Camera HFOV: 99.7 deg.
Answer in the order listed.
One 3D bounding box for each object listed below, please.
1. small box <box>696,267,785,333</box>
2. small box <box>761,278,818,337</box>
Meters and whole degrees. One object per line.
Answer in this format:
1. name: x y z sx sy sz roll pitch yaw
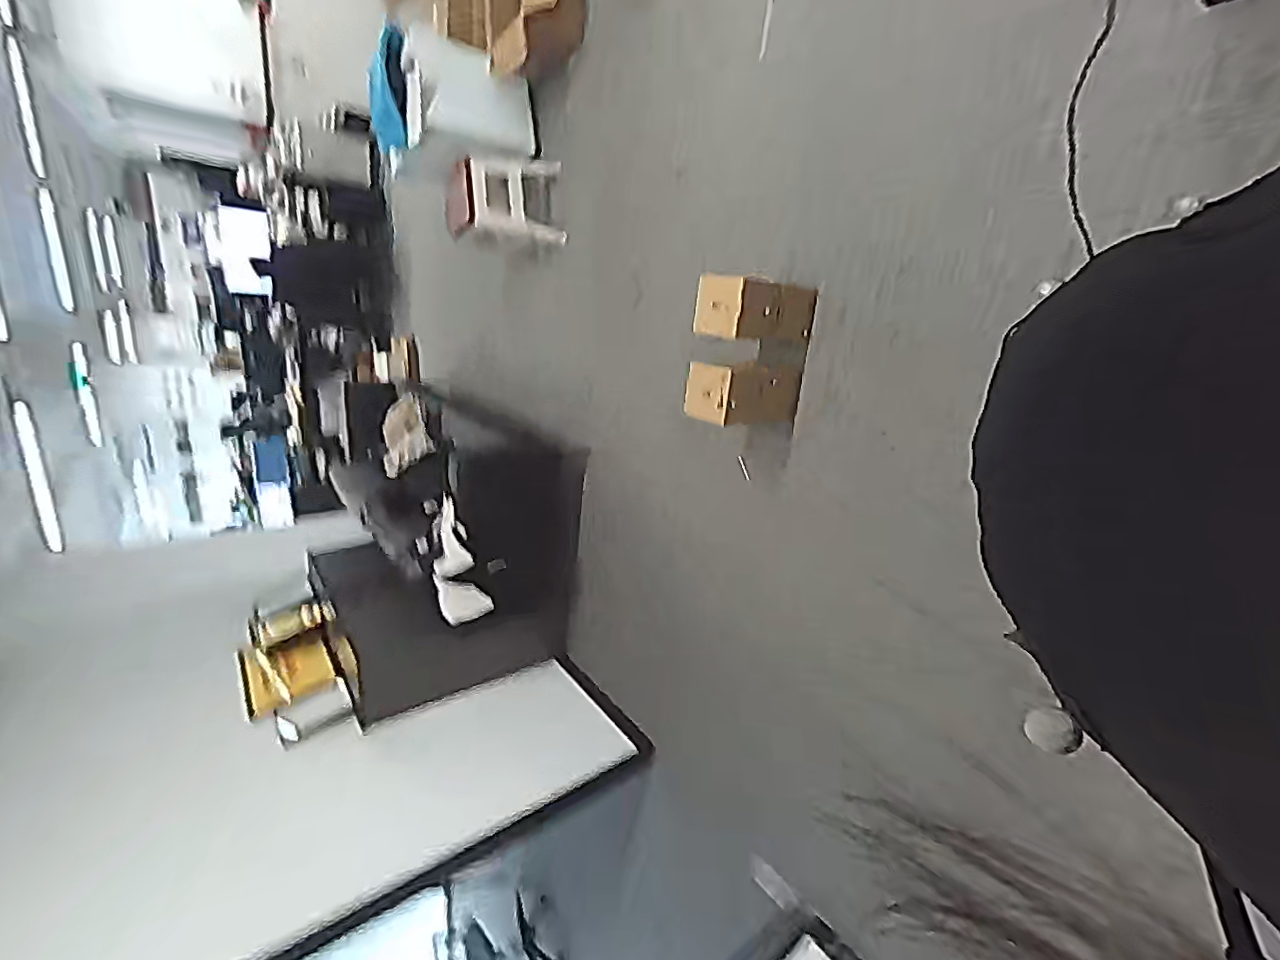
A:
1. small box: 0.295 -0.527 1.593 0.179 0.176 0.168 27 118 47
2. small box: 0.428 -0.541 1.690 0.179 0.176 0.168 27 117 47
